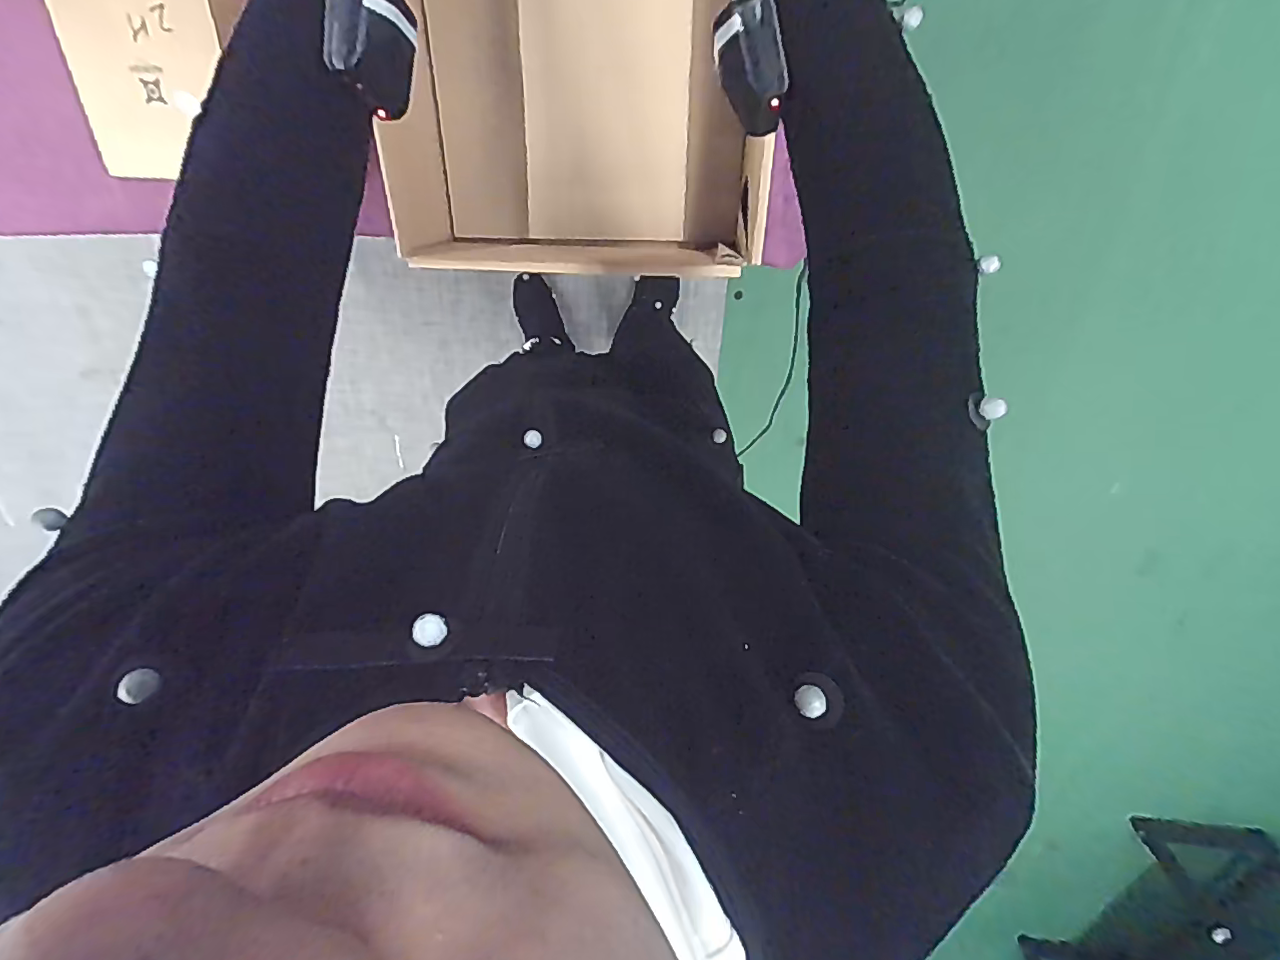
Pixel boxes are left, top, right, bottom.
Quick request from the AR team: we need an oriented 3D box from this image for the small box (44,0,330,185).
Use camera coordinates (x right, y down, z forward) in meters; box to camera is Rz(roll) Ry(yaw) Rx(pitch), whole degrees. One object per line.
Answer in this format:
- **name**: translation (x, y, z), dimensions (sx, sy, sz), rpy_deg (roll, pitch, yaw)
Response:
- **small box**: translation (-0.487, -0.440, 0.615), dimensions (0.168, 0.176, 0.179), rpy_deg (4, 118, 1)
